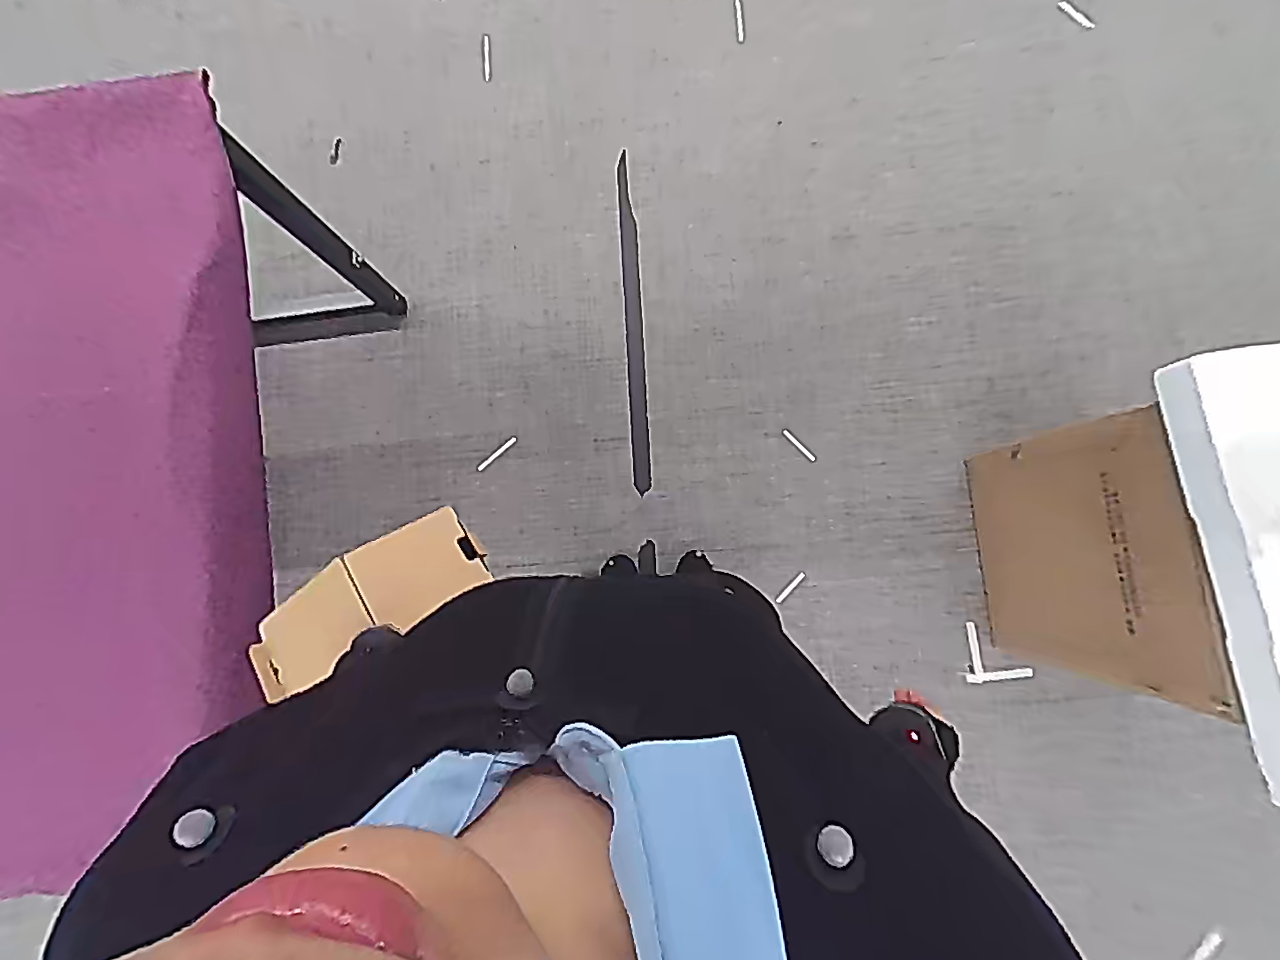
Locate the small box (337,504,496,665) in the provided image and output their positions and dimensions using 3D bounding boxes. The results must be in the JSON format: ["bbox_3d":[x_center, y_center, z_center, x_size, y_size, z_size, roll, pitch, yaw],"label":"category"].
[{"bbox_3d":[-0.346,0.174,0.869,0.179,0.176,0.168,-28,72,-25],"label":"small box"}]
